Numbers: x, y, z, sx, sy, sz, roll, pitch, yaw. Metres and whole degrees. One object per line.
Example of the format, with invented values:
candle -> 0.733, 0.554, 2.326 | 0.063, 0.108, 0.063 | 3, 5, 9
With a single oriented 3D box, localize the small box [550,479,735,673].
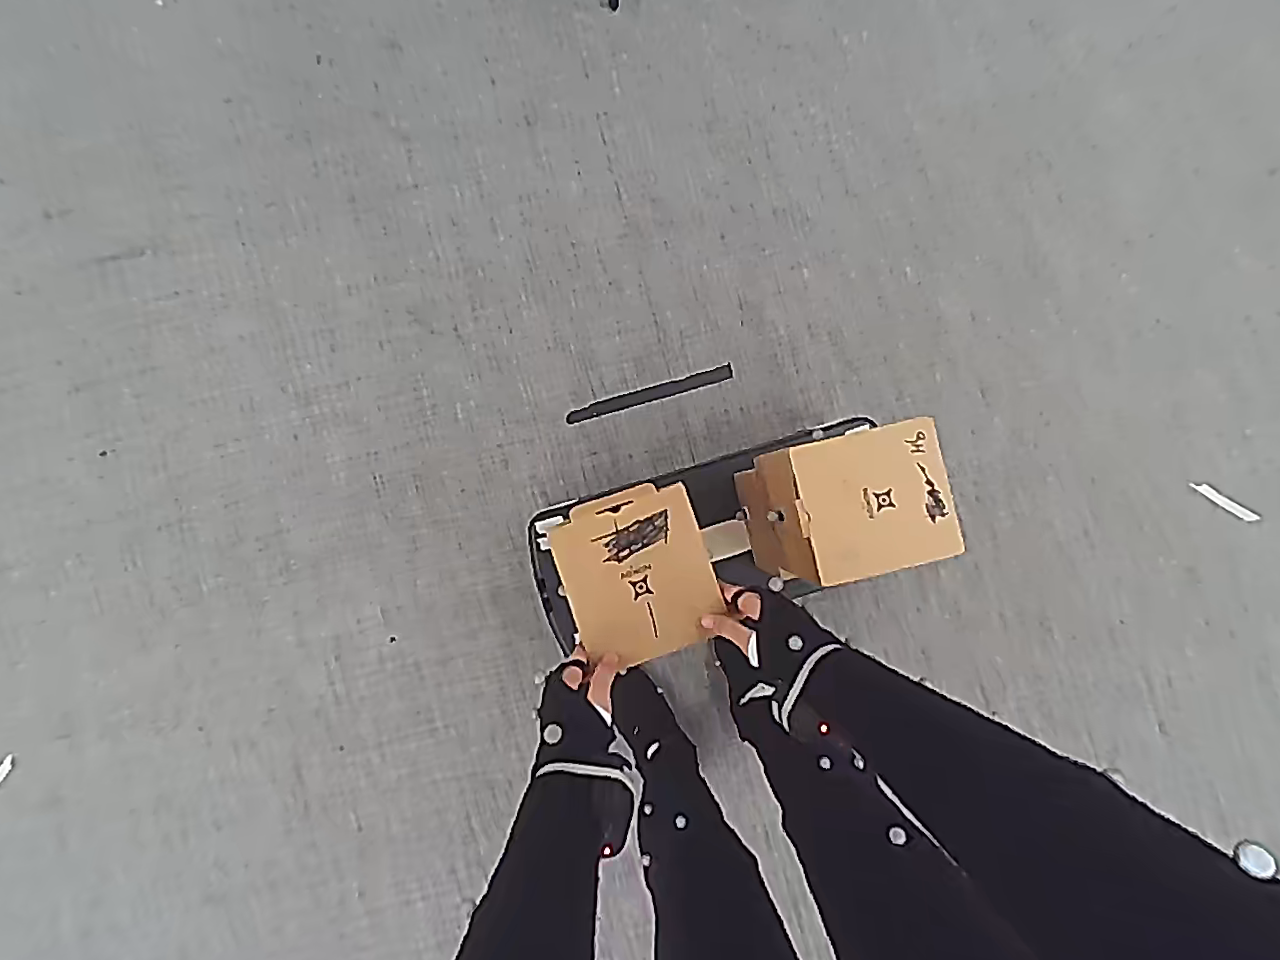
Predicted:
small box -> -0.001, 0.113, 0.678 | 0.168, 0.176, 0.179 | -20, 86, -3

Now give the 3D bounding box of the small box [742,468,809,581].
small box -> 0.264, 0.047, 0.858 | 0.179, 0.176, 0.168 | -16, 88, -2

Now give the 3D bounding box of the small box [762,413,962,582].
small box -> 0.265, 0.023, 0.697 | 0.179, 0.176, 0.168 | -13, 89, 0

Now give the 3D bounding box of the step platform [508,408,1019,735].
step platform -> 0.167, 0.125, 0.818 | 0.684, 0.204, 0.286 | -17, 89, -2
